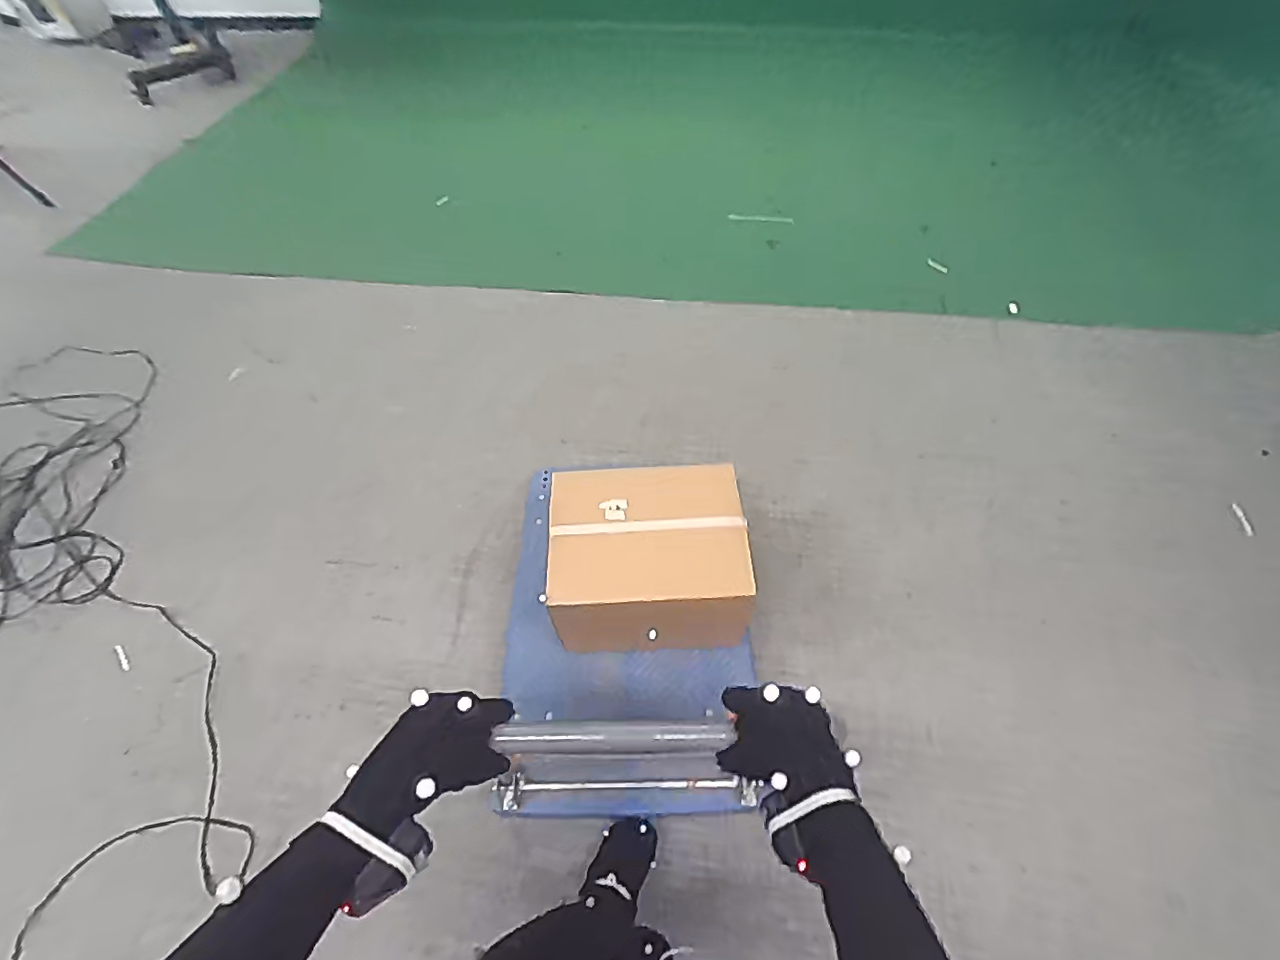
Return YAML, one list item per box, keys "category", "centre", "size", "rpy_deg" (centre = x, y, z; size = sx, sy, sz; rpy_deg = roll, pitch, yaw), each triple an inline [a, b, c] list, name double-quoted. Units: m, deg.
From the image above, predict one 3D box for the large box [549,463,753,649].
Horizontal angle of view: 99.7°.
- category: "large box"
  centre: [0.020, 0.186, 1.248]
  size: [0.408, 0.320, 0.320]
  rpy_deg: [-4, 55, 0]
